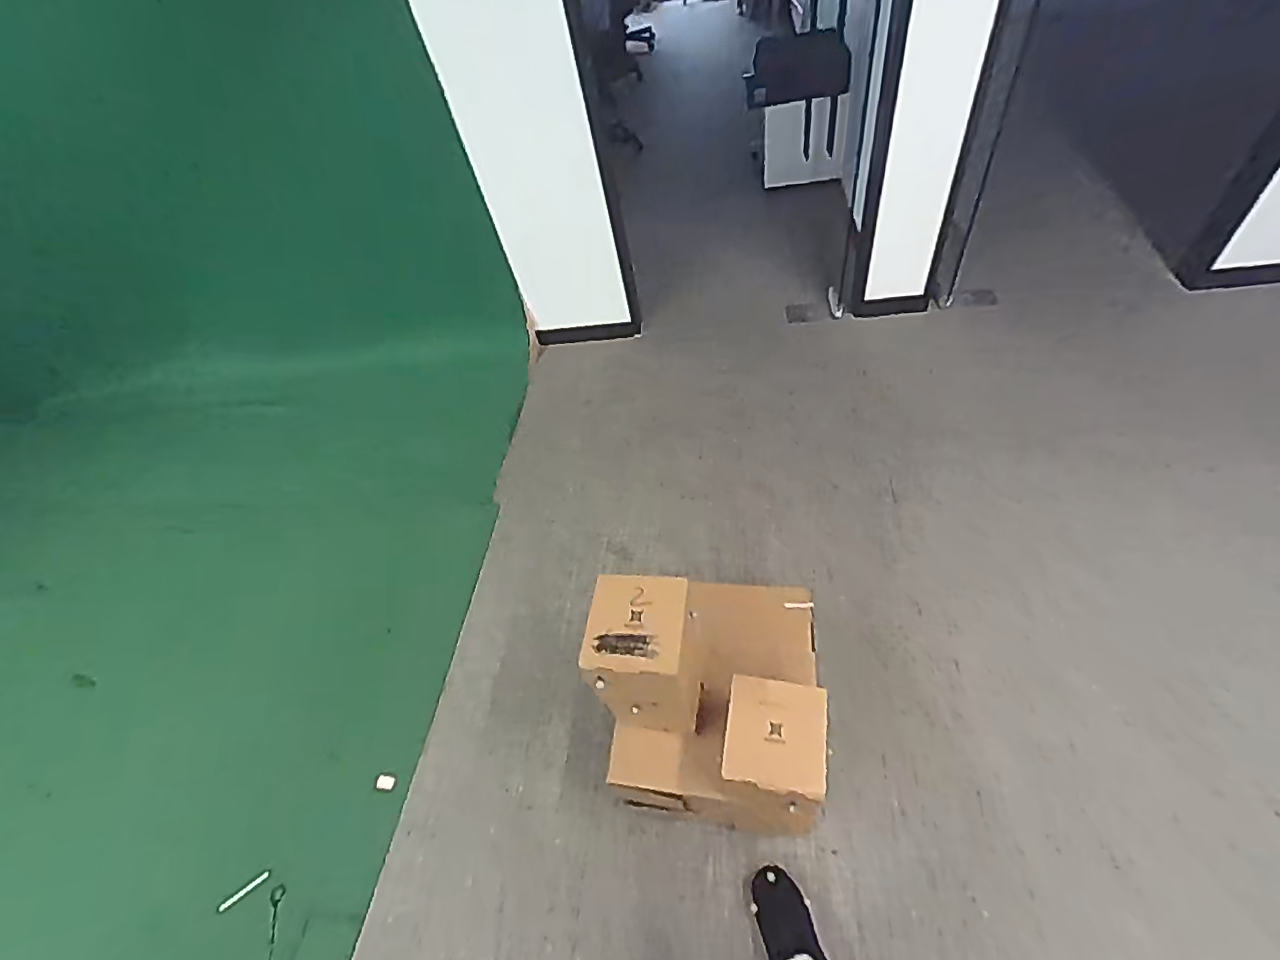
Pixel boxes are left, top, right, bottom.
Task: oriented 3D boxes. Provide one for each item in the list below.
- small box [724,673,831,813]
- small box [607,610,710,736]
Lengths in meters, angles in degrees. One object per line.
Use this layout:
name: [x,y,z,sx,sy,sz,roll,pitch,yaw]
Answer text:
small box: [0.247,0.474,0.970,0.168,0.176,0.179,5,51,15]
small box: [0.047,0.388,1.089,0.168,0.176,0.179,2,50,16]
